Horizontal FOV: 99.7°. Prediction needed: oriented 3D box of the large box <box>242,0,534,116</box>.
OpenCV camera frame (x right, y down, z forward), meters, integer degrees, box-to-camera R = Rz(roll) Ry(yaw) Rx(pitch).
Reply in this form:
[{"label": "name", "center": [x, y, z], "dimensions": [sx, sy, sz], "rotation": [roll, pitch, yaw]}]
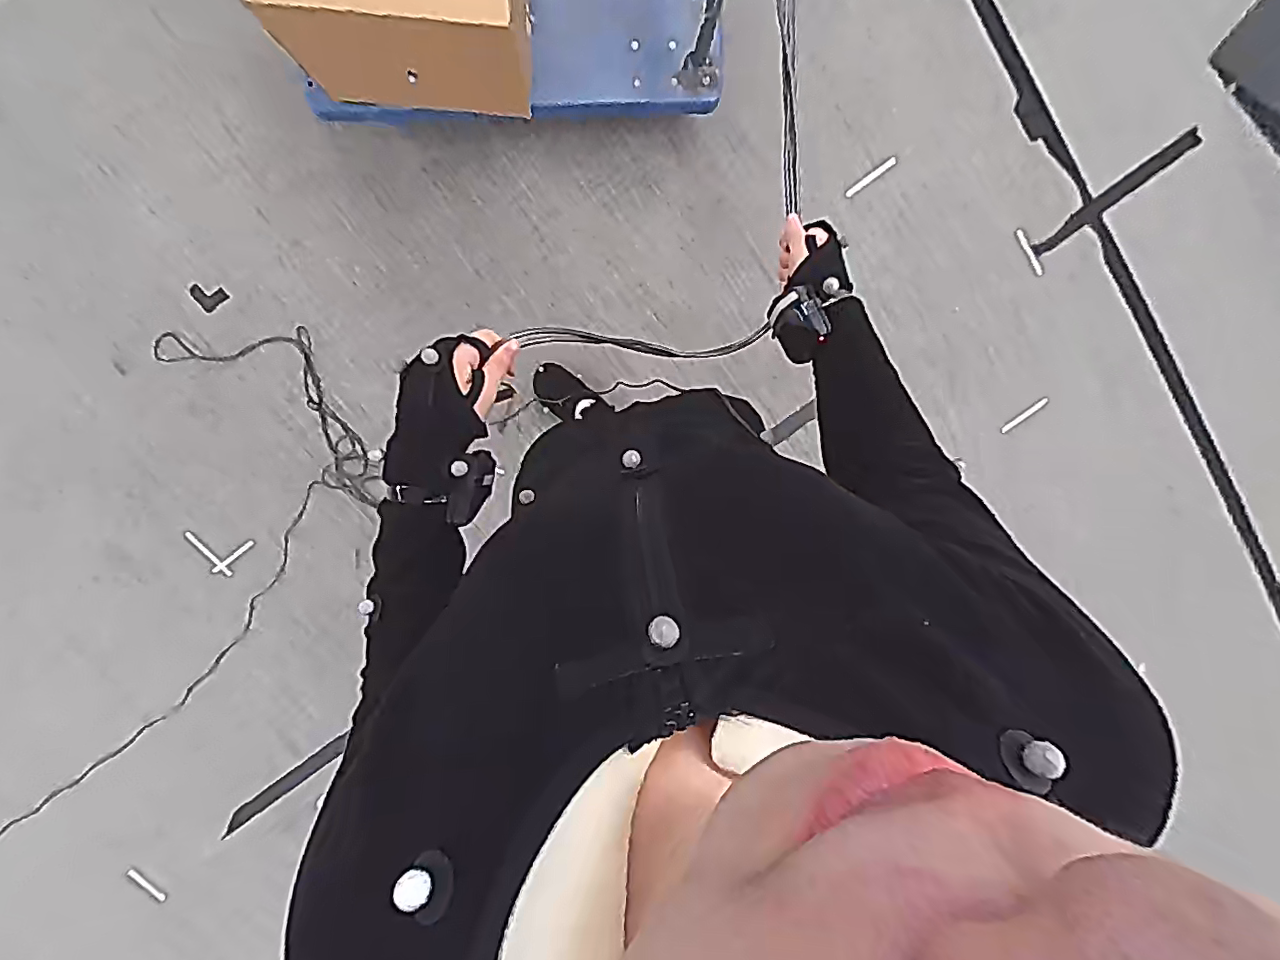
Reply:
[{"label": "large box", "center": [-0.405, -0.881, 0.945], "dimensions": [0.408, 0.320, 0.320], "rotation": [1, 100, -5]}]
